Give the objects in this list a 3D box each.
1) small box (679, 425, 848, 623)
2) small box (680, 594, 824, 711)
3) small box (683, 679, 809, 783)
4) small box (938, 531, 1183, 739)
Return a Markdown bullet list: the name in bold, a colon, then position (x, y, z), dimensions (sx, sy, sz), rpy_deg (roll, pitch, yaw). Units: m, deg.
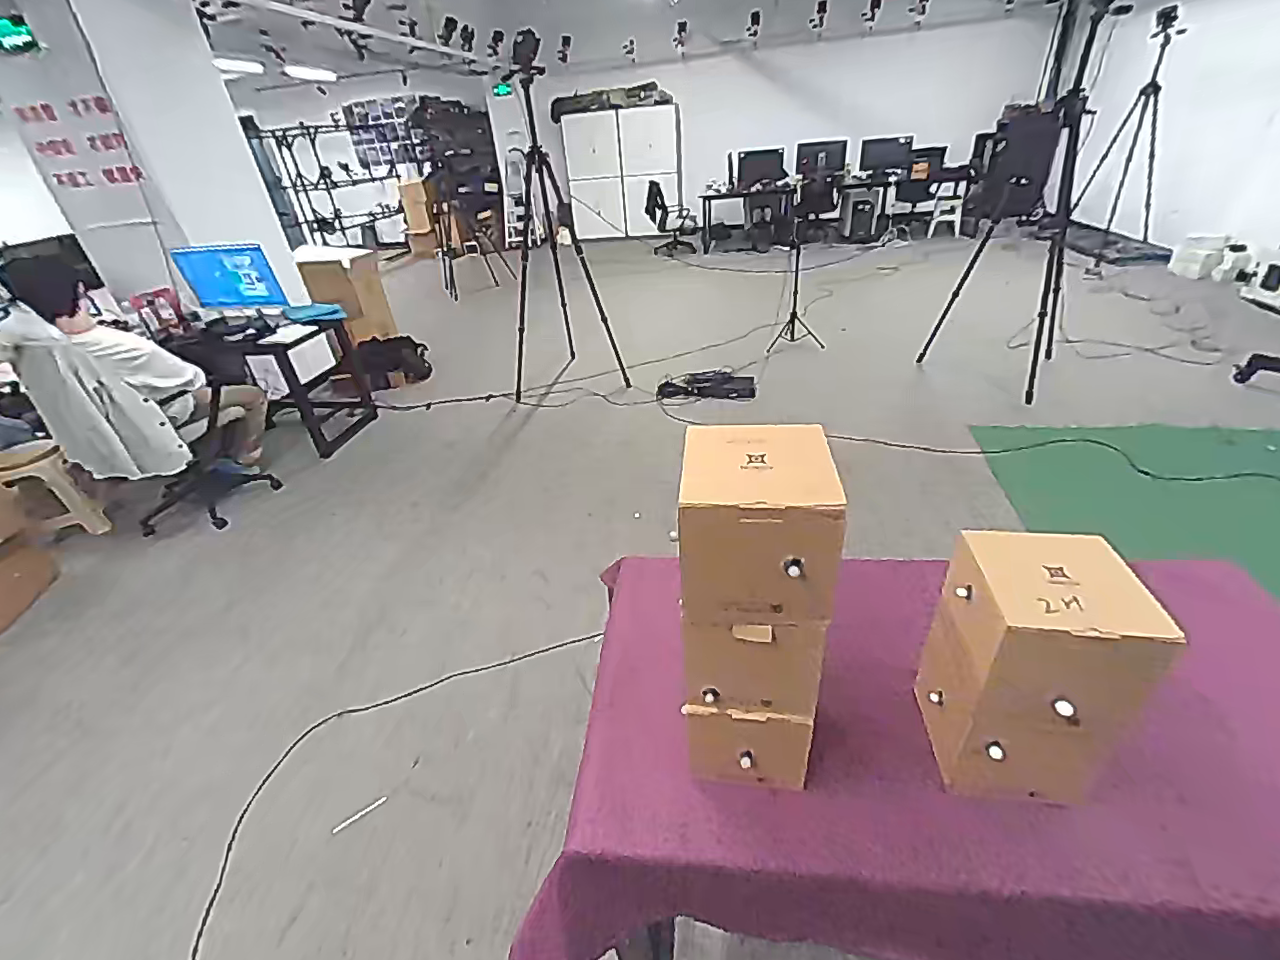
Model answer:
- **small box**: position (0.137, 0.048, 0.637), dimensions (0.168, 0.176, 0.179), rpy_deg (2, 33, 9)
- **small box**: position (0.149, 0.182, 0.729), dimensions (0.168, 0.176, 0.179), rpy_deg (2, 33, 11)
- **small box**: position (0.157, 0.324, 0.813), dimensions (0.168, 0.176, 0.179), rpy_deg (2, 34, 10)
- **small box**: position (0.495, 0.186, 0.676), dimensions (0.168, 0.176, 0.179), rpy_deg (2, 34, 12)
